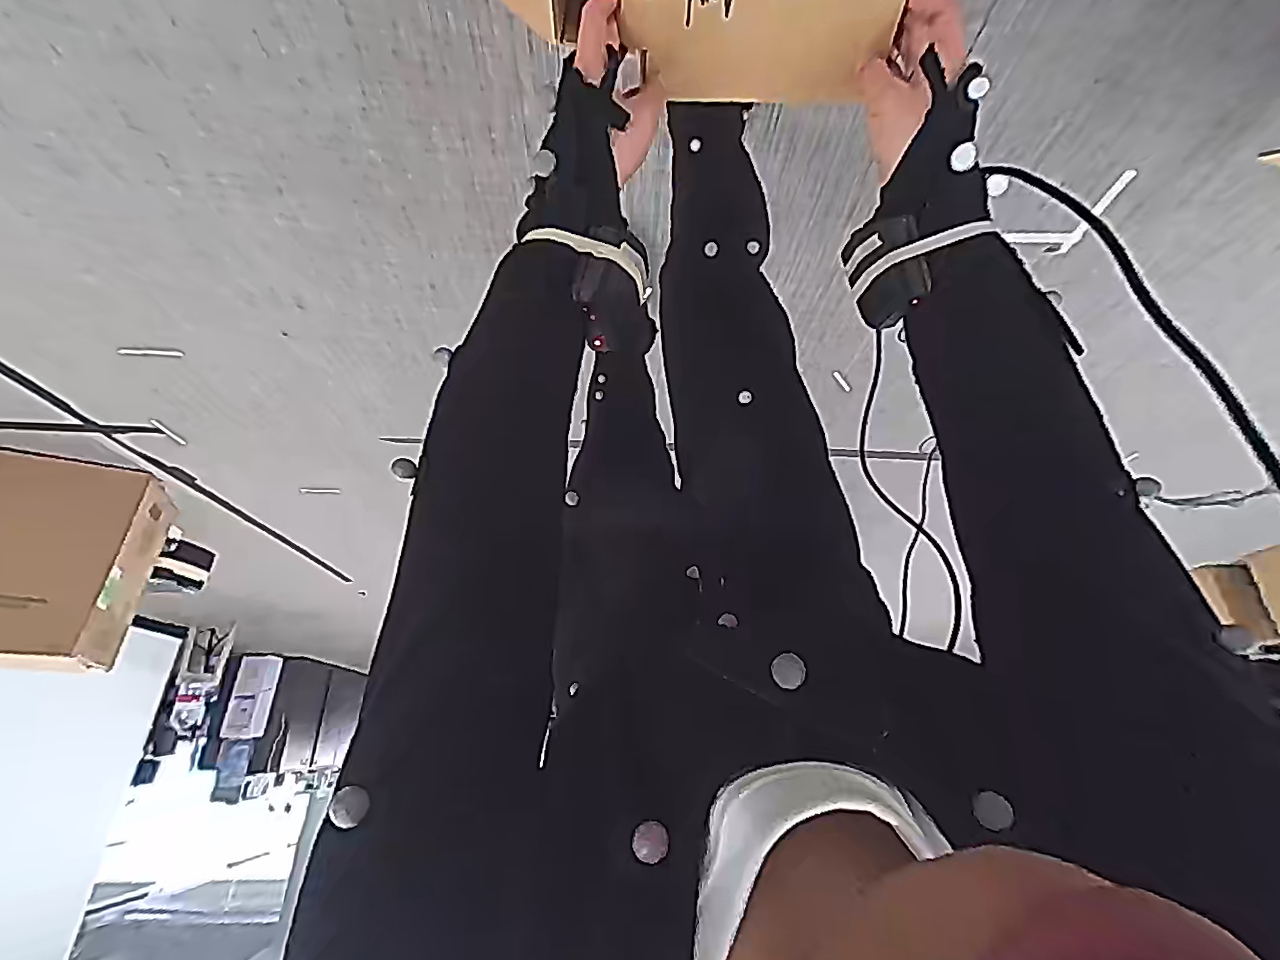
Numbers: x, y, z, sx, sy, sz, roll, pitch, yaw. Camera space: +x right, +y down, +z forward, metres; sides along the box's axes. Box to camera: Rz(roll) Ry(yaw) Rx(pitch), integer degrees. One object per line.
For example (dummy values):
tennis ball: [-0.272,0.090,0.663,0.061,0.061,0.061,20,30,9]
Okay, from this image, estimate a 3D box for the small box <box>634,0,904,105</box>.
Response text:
small box: [0.087,-0.396,0.384,0.179,0.176,0.168,-2,146,-4]
